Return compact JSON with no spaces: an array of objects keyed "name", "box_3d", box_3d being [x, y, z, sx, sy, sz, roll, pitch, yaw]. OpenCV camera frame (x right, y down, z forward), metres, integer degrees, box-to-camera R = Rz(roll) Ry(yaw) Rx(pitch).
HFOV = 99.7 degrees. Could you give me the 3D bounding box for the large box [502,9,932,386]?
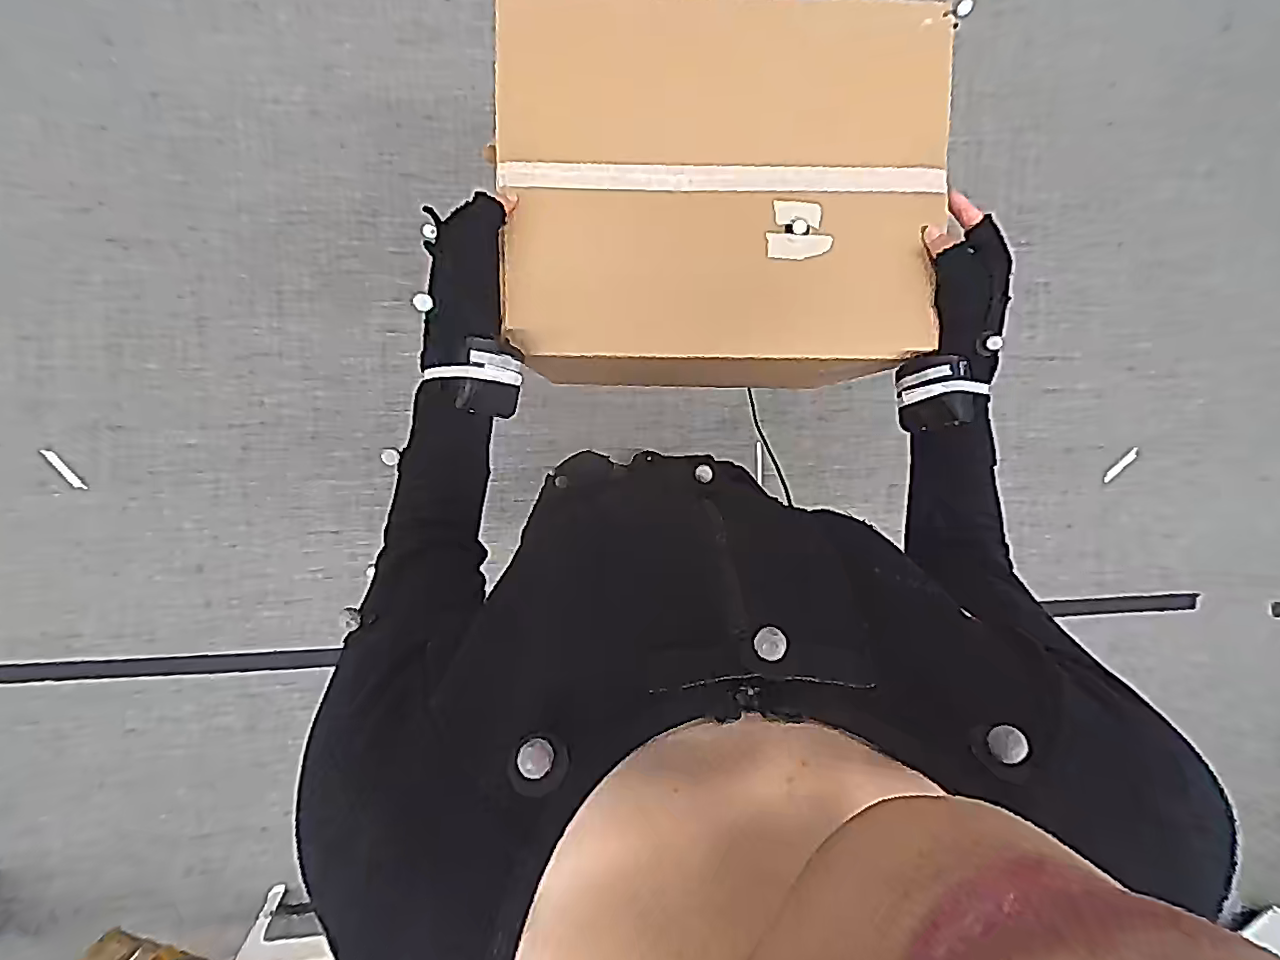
[{"name":"large box","box_3d":[0.067,-0.286,0.653,0.408,0.320,0.320,0,95,-2]}]
